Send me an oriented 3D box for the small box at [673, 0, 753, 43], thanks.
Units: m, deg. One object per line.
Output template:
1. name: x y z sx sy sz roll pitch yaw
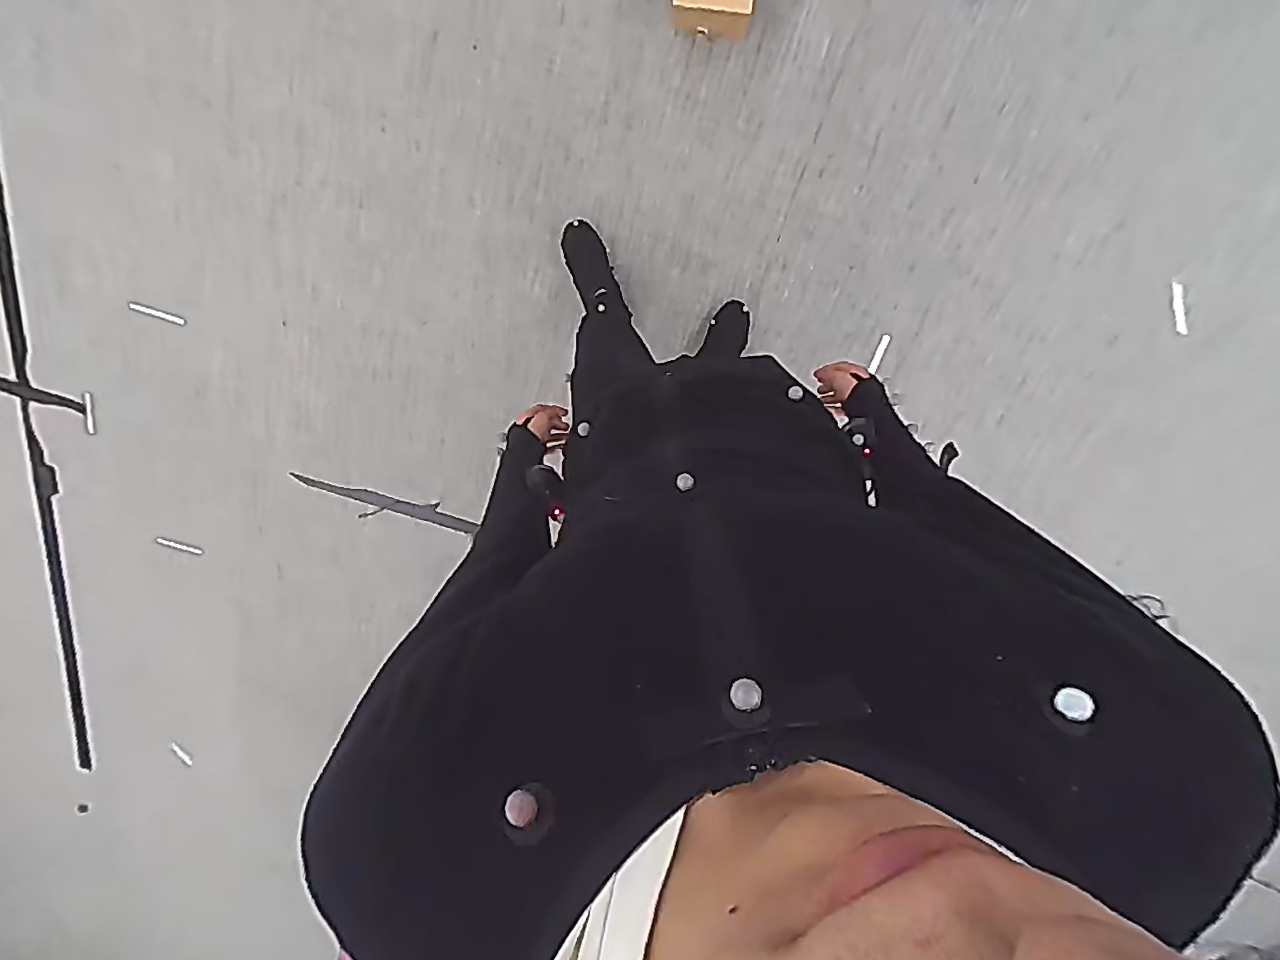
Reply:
1. small box: 0.161 -1.073 1.147 0.168 0.176 0.179 7 113 0
